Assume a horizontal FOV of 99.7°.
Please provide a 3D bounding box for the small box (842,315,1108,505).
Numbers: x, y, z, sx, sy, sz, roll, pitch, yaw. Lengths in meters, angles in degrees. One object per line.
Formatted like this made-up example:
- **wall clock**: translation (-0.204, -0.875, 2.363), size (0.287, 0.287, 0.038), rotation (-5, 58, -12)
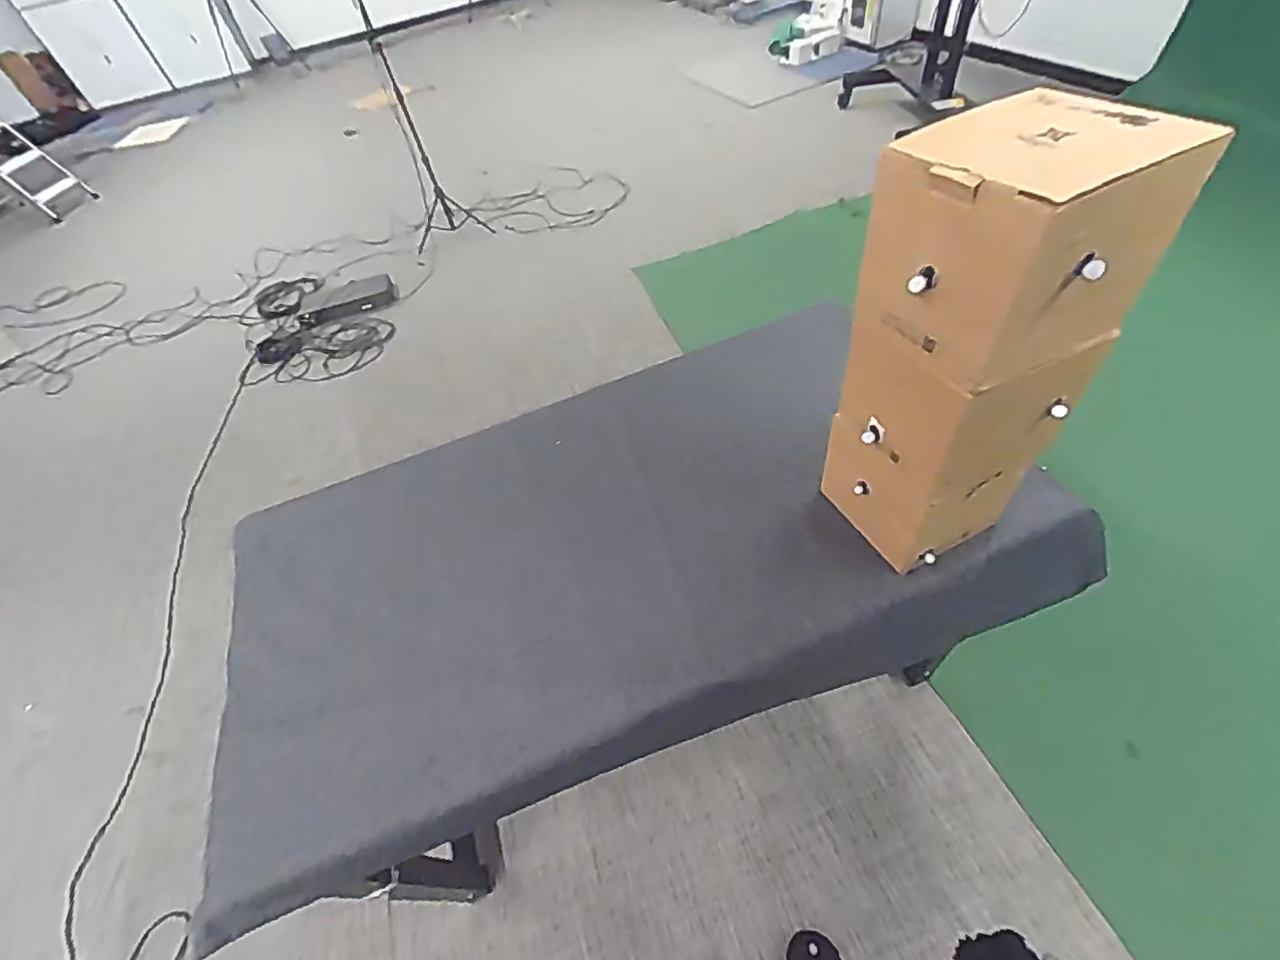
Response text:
- **small box**: translation (0.357, -0.103, 0.620), size (0.179, 0.176, 0.168), rotation (-24, 49, -8)

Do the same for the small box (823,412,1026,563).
- **small box**: translation (0.378, -0.008, 0.748), size (0.168, 0.176, 0.179), rotation (-25, 50, -10)

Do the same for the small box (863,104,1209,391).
- **small box**: translation (0.329, -0.210, 0.499), size (0.179, 0.176, 0.168), rotation (-25, 50, -9)
